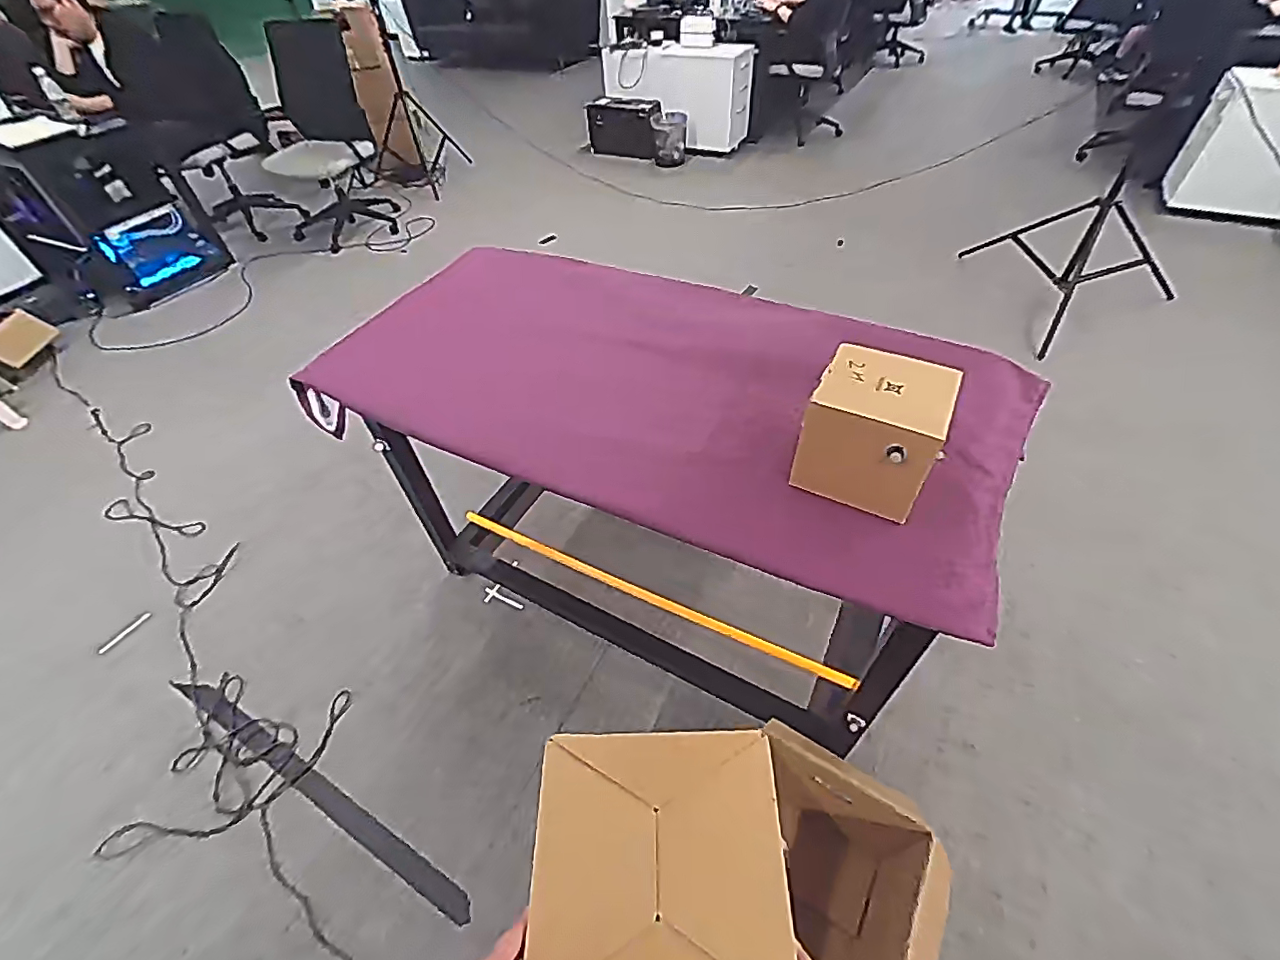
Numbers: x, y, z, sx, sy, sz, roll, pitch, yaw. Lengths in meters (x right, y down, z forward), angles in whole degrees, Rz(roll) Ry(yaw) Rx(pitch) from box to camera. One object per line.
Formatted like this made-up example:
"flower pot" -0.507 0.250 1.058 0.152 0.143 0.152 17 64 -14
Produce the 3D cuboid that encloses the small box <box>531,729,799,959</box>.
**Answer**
"small box" 0.016 0.311 0.437 0.179 0.176 0.168 -3 50 3

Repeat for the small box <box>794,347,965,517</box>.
"small box" 0.352 -0.069 0.813 0.179 0.176 0.168 21 50 21
